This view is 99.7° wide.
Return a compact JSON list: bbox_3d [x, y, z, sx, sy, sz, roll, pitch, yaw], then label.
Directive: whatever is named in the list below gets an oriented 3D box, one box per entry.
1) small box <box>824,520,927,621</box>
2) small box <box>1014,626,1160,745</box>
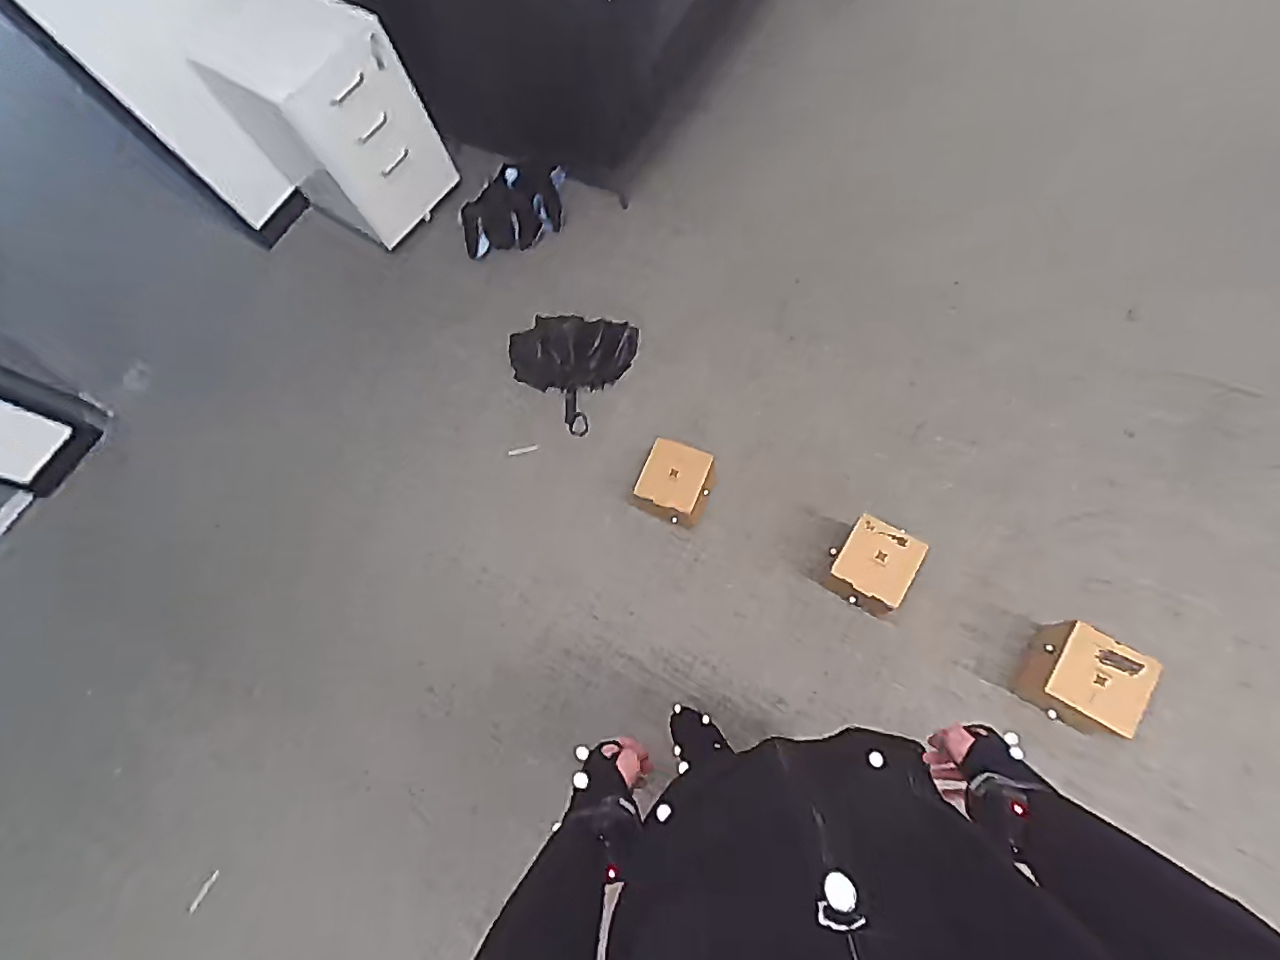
[{"bbox_3d":[0.576,0.232,1.348,0.168,0.176,0.179,30,77,19],"label":"small box"},{"bbox_3d":[0.970,0.449,1.191,0.168,0.176,0.179,30,78,20],"label":"small box"}]
